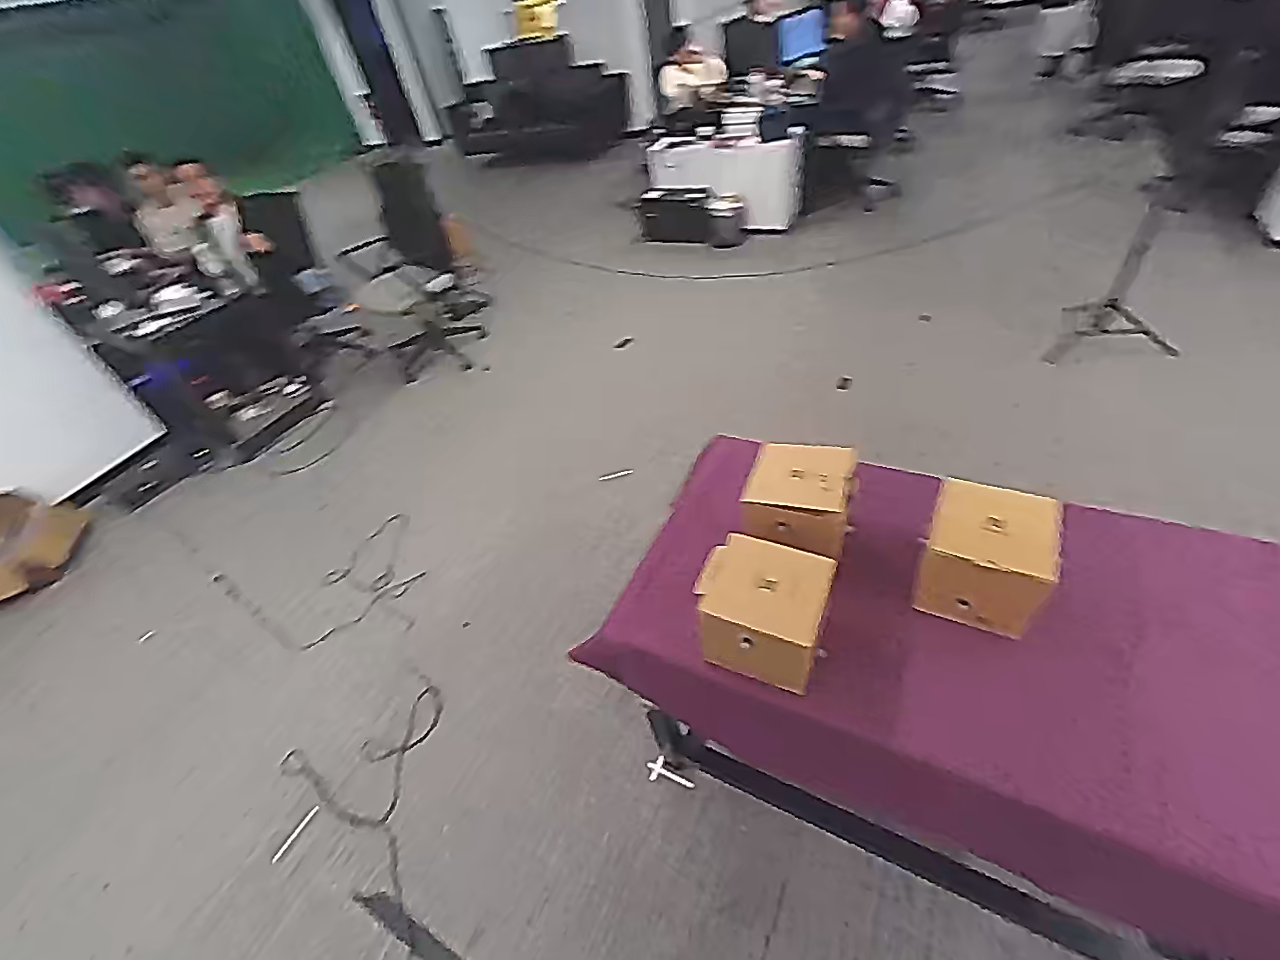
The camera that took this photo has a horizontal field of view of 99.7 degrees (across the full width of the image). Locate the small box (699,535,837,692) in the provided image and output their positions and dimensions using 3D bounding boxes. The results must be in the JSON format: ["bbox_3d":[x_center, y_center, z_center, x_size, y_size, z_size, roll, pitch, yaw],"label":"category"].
[{"bbox_3d":[0.214,0.224,0.905,0.179,0.176,0.168,15,50,25],"label":"small box"}]

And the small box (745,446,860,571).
[{"bbox_3d":[0.312,0.060,1.052,0.179,0.176,0.168,13,49,23],"label":"small box"}]
